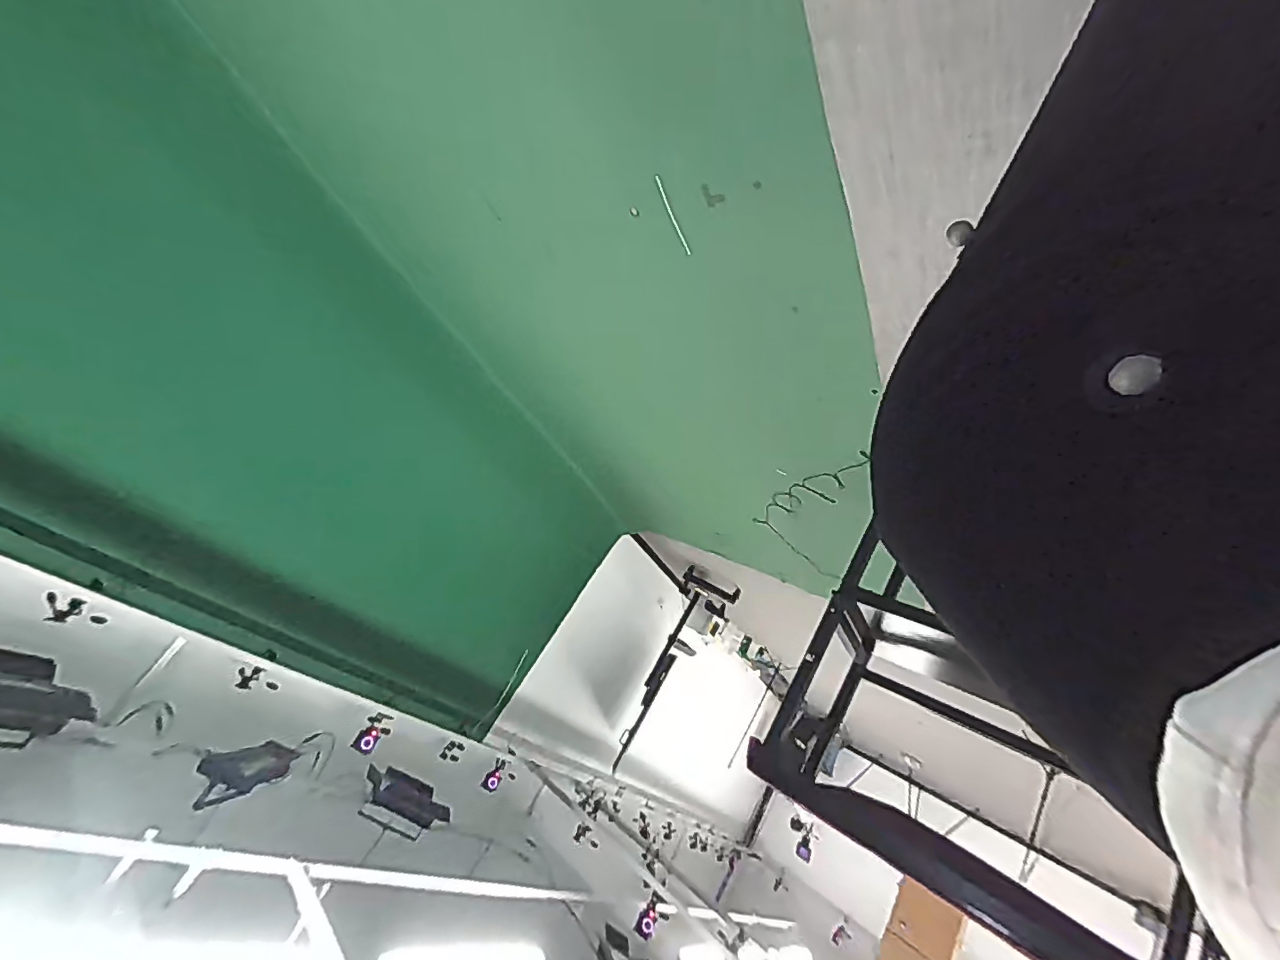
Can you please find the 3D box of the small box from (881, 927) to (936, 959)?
[{"bbox_3d":[0.801,1.445,1.568,0.179,0.176,0.168,17,155,42],"label":"small box"}]

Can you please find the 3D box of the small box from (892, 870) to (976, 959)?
[{"bbox_3d":[0.887,1.313,1.618,0.179,0.176,0.168,16,155,43],"label":"small box"}]
